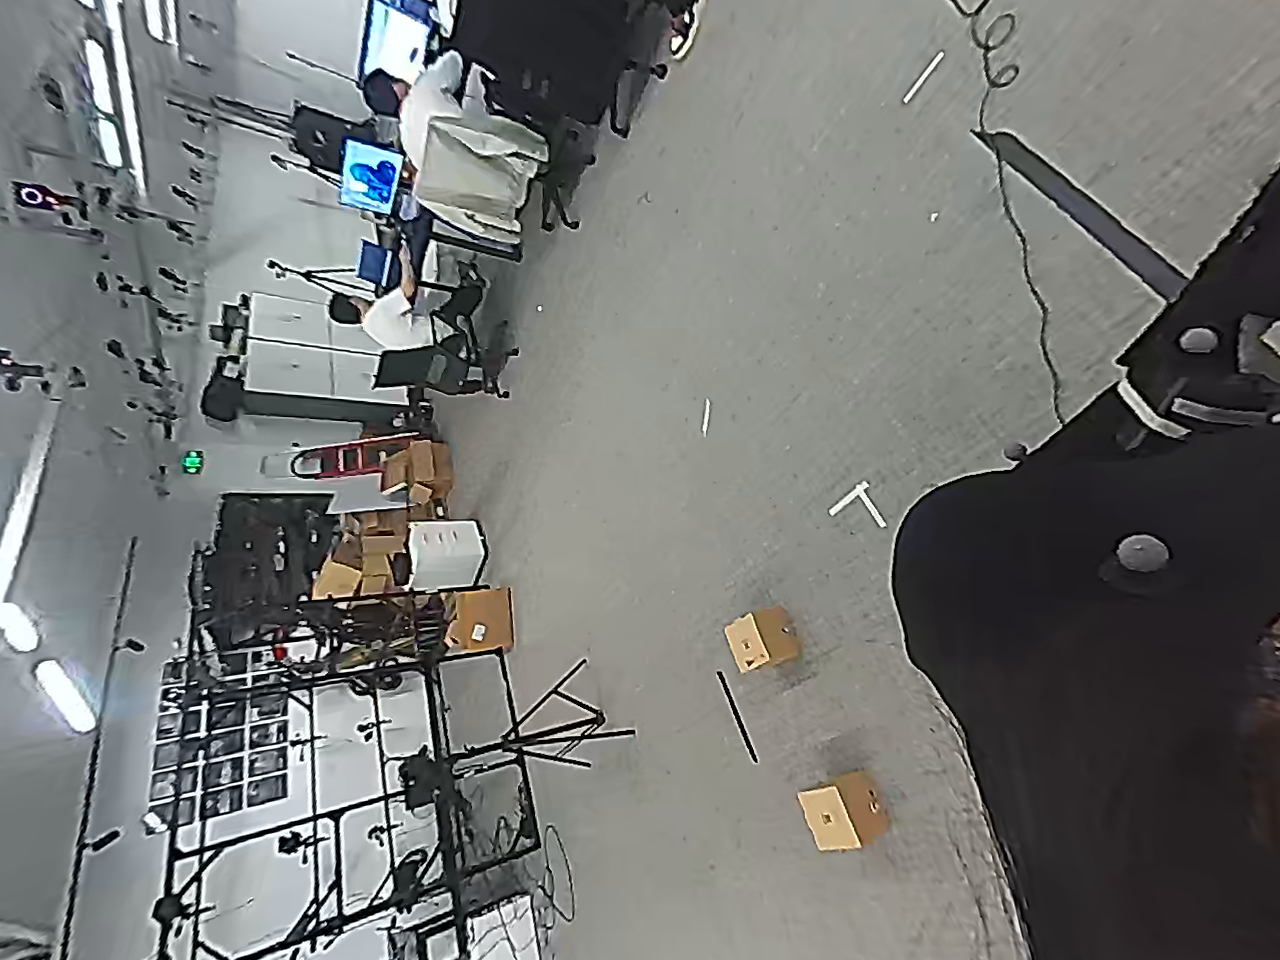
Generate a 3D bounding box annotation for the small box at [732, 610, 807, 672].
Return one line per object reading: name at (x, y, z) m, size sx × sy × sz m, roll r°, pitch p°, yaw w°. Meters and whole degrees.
small box at (0.472, 0.584, 1.975) m, size 0.168 × 0.176 × 0.179 m, roll -48°, pitch 50°, yaw 44°

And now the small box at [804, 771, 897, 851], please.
small box at (0.658, 1.031, 1.688) m, size 0.179 × 0.176 × 0.168 m, roll -48°, pitch 53°, yaw 43°
